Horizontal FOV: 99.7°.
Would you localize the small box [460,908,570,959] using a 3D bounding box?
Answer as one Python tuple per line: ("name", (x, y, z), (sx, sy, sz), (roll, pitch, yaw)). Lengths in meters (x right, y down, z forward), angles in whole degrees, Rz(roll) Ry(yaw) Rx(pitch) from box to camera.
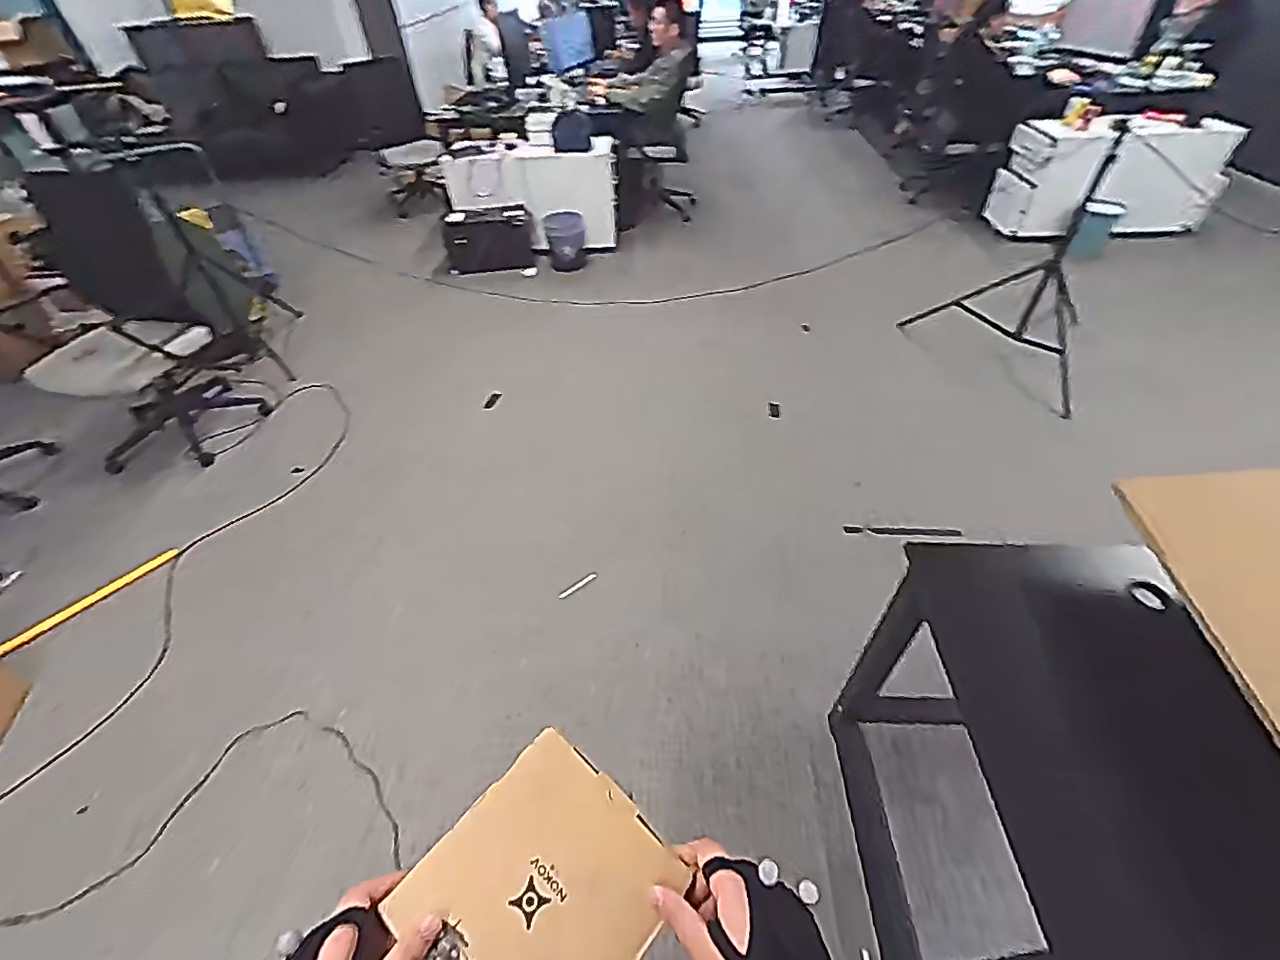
("small box", (-0.211, 0.864, 0.926), (0.168, 0.176, 0.179), (-5, 43, -3))
